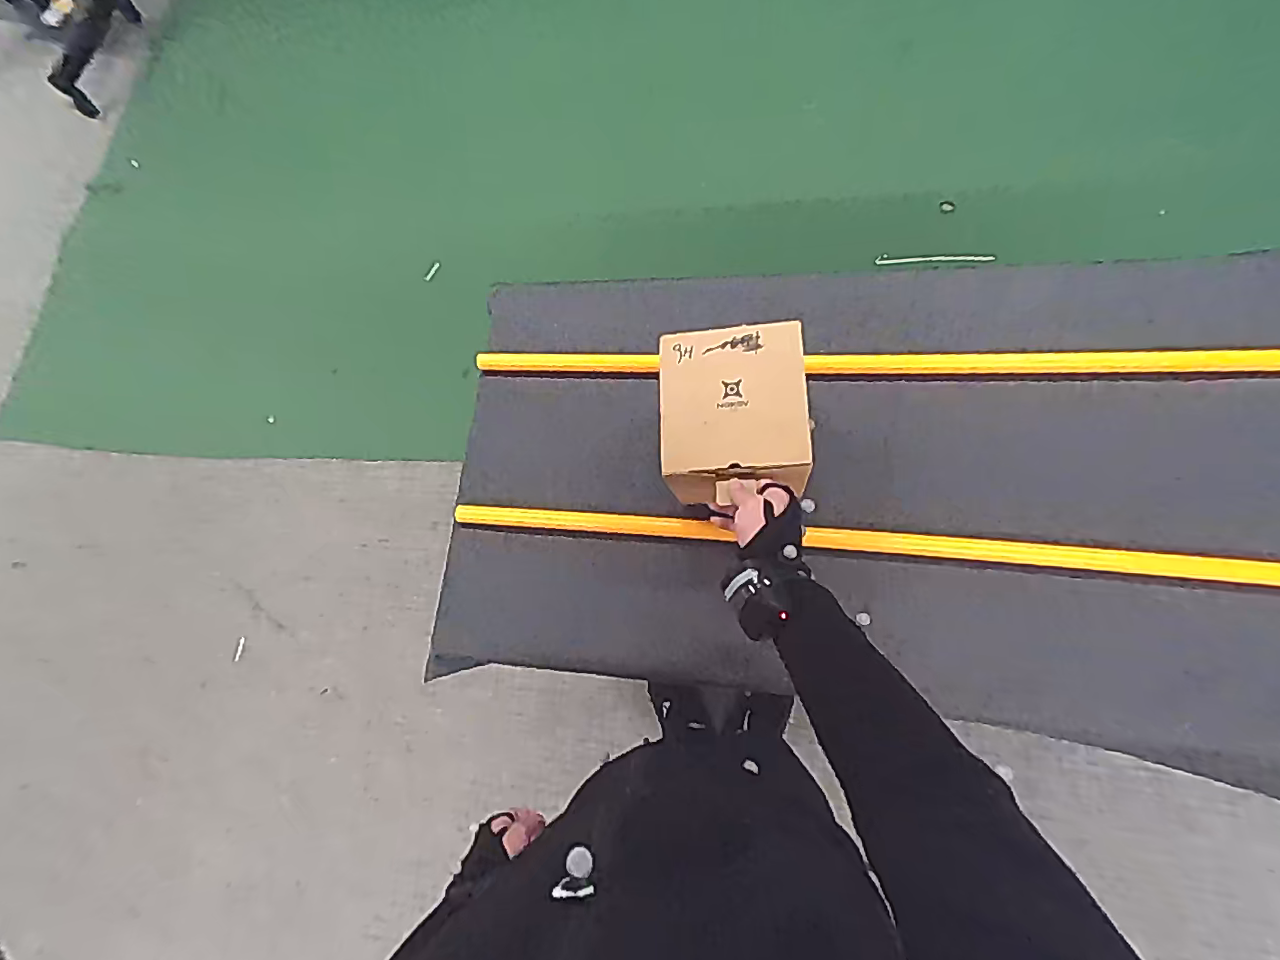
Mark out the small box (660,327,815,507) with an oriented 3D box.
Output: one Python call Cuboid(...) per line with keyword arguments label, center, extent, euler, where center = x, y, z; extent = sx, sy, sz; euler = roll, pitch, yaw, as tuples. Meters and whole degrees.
Cuboid(label="small box", center=(0.127, -0.066, 0.692), extent=(0.168, 0.176, 0.179), euler=(-7, 74, 13))
